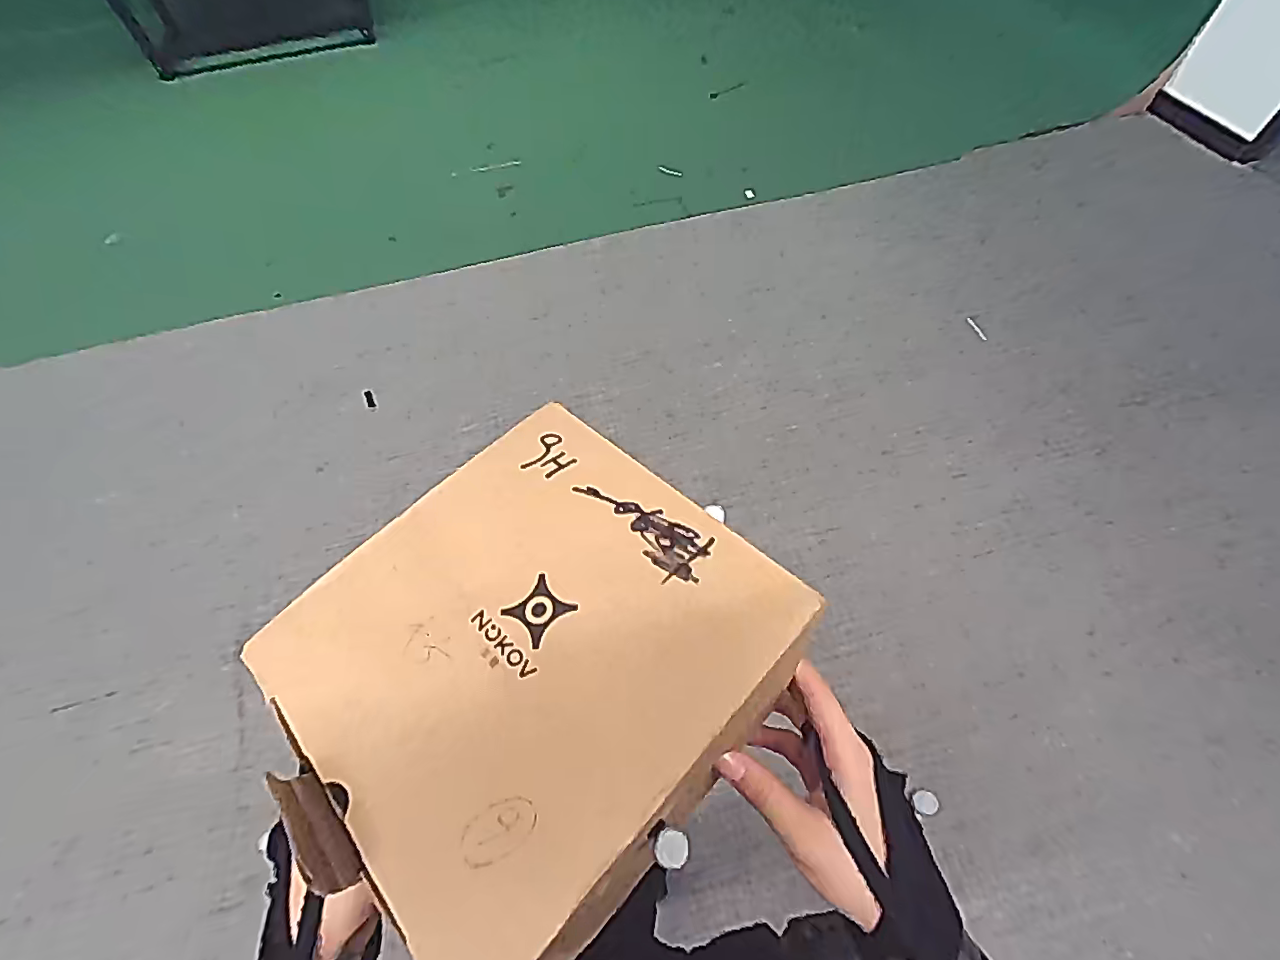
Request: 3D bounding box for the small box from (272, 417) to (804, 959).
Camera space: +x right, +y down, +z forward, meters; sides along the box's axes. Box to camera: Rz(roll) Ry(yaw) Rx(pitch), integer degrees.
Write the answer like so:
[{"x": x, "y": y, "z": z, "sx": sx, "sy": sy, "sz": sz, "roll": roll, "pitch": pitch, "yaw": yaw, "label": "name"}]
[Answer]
[{"x": -0.037, "y": 0.107, "z": 0.293, "sx": 0.168, "sy": 0.176, "sz": 0.179, "roll": 36, "pitch": 68, "yaw": 27, "label": "small box"}]
